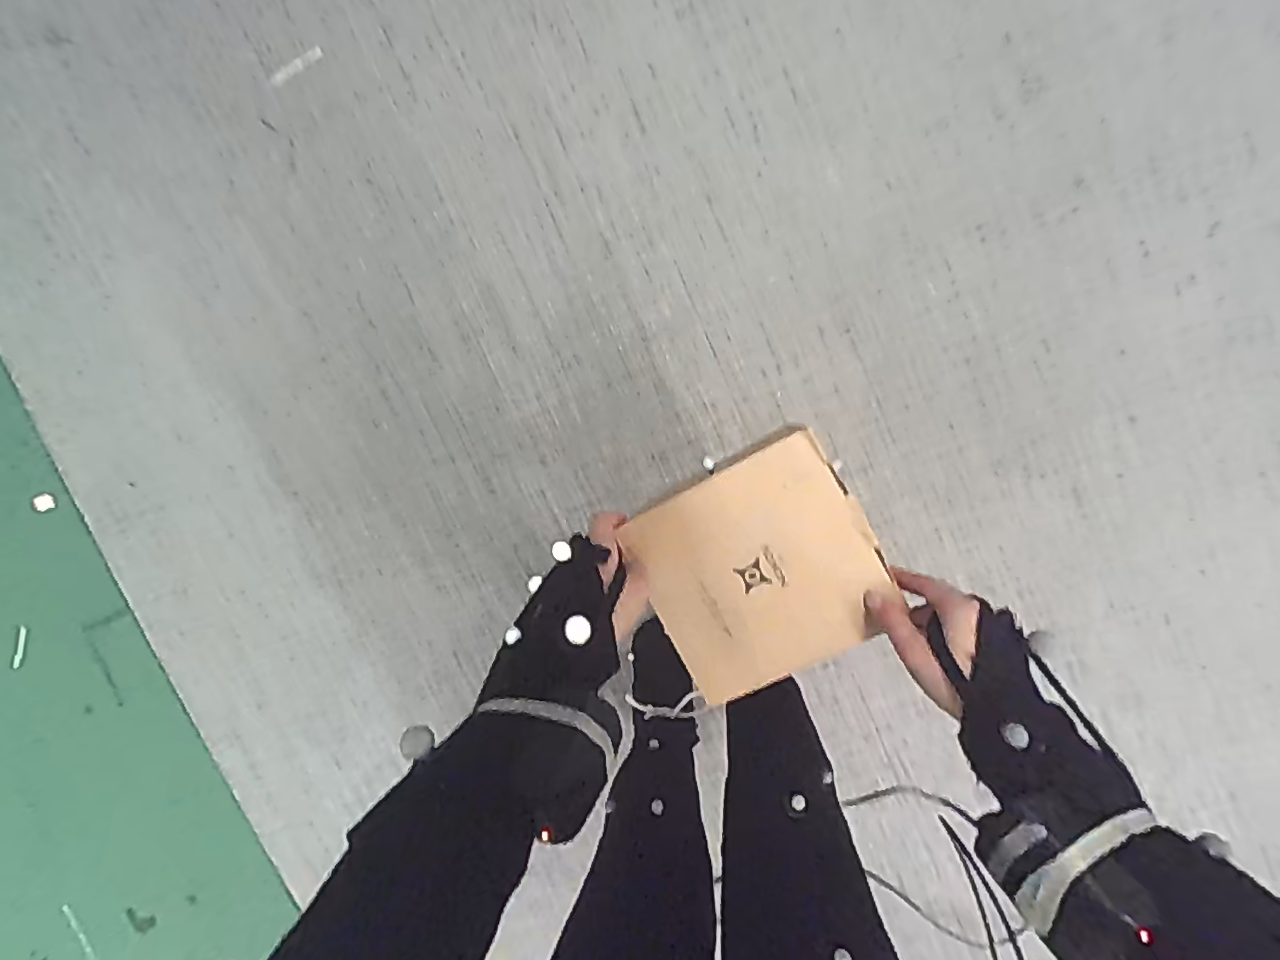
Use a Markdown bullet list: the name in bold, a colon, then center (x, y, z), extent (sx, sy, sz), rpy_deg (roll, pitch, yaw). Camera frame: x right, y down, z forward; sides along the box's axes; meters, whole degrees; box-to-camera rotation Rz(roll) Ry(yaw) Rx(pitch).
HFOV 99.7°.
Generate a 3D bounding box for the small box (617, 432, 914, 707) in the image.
- **small box**: center (0.106, 0.064, 0.493), extent (0.179, 0.176, 0.168), rpy_deg (-30, 89, 13)
